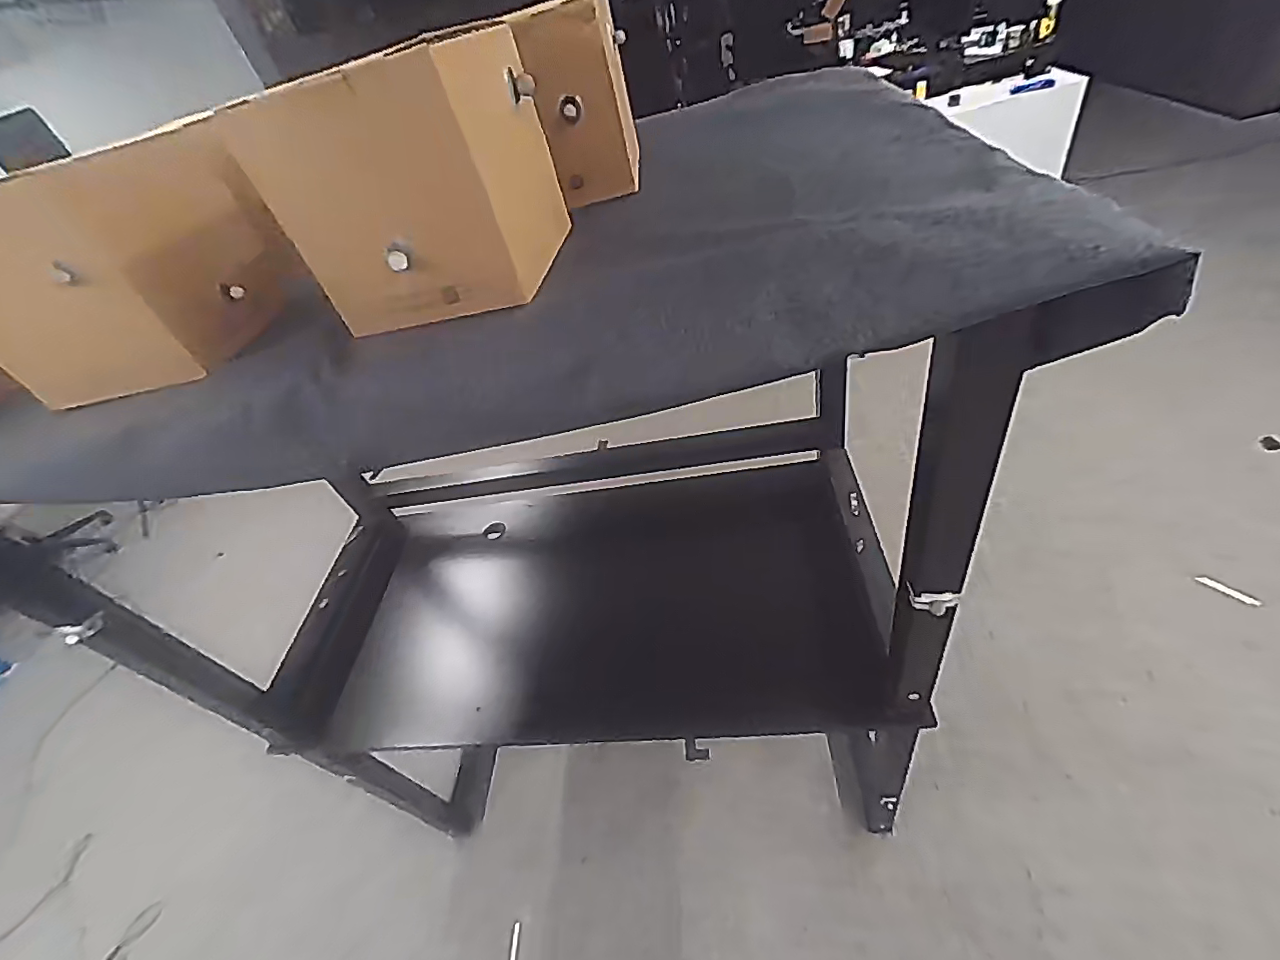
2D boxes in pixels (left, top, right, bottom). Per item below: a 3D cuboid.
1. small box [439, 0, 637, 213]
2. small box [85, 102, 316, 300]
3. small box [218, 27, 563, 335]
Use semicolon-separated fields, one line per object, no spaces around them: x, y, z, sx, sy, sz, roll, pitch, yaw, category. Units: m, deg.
-0.100;-0.404;0.594;0.168;0.176;0.179;-8;44;9;small box
-0.490;-0.349;0.673;0.179;0.176;0.168;-8;44;12;small box
-0.175;-0.244;0.451;0.168;0.176;0.179;-6;43;14;small box
